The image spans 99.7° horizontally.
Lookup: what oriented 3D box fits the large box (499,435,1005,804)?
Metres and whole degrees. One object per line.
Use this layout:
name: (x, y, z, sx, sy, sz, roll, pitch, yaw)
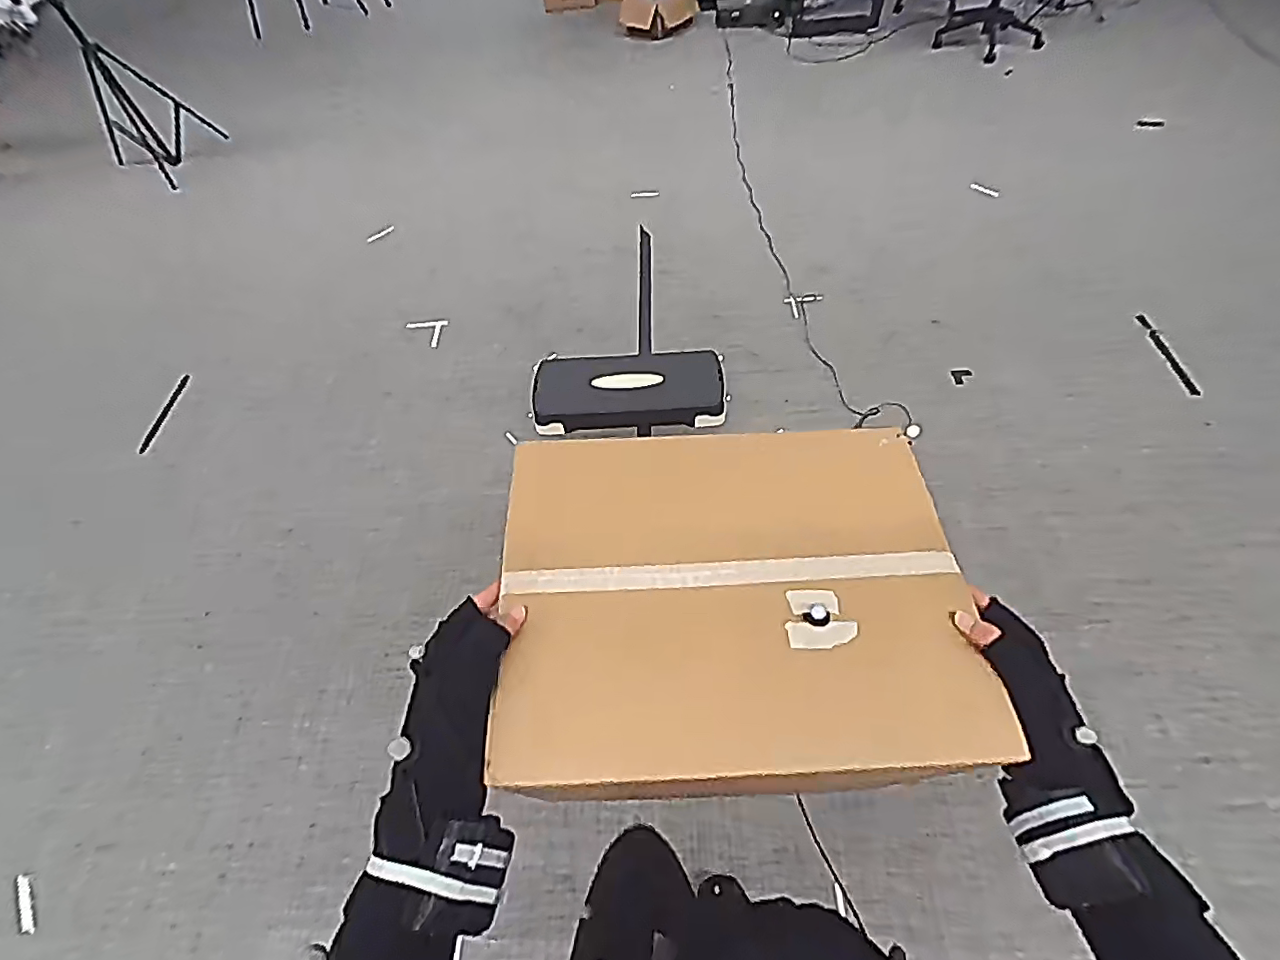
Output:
large box: (0.080, 0.171, 0.619, 0.408, 0.320, 0.320, -2, 57, -1)
